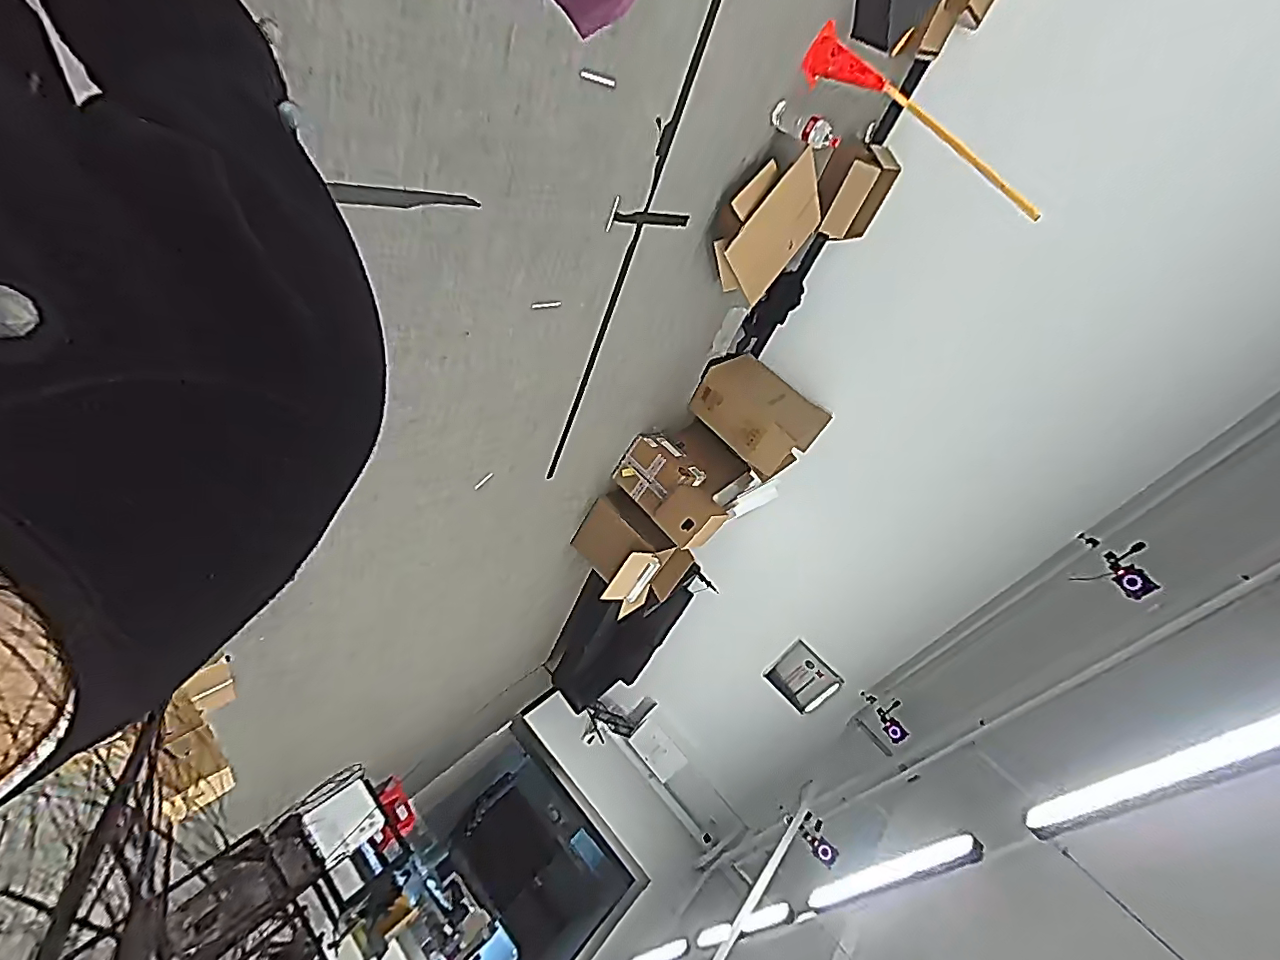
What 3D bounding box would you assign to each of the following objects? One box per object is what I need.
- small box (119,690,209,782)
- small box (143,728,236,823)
[{"bbox_3d":[-1.510,0.813,1.732,0.179,0.176,0.168,-26,150,-44],"label":"small box"},{"bbox_3d":[-1.392,0.909,1.675,0.168,0.176,0.179,-27,150,-45],"label":"small box"}]
